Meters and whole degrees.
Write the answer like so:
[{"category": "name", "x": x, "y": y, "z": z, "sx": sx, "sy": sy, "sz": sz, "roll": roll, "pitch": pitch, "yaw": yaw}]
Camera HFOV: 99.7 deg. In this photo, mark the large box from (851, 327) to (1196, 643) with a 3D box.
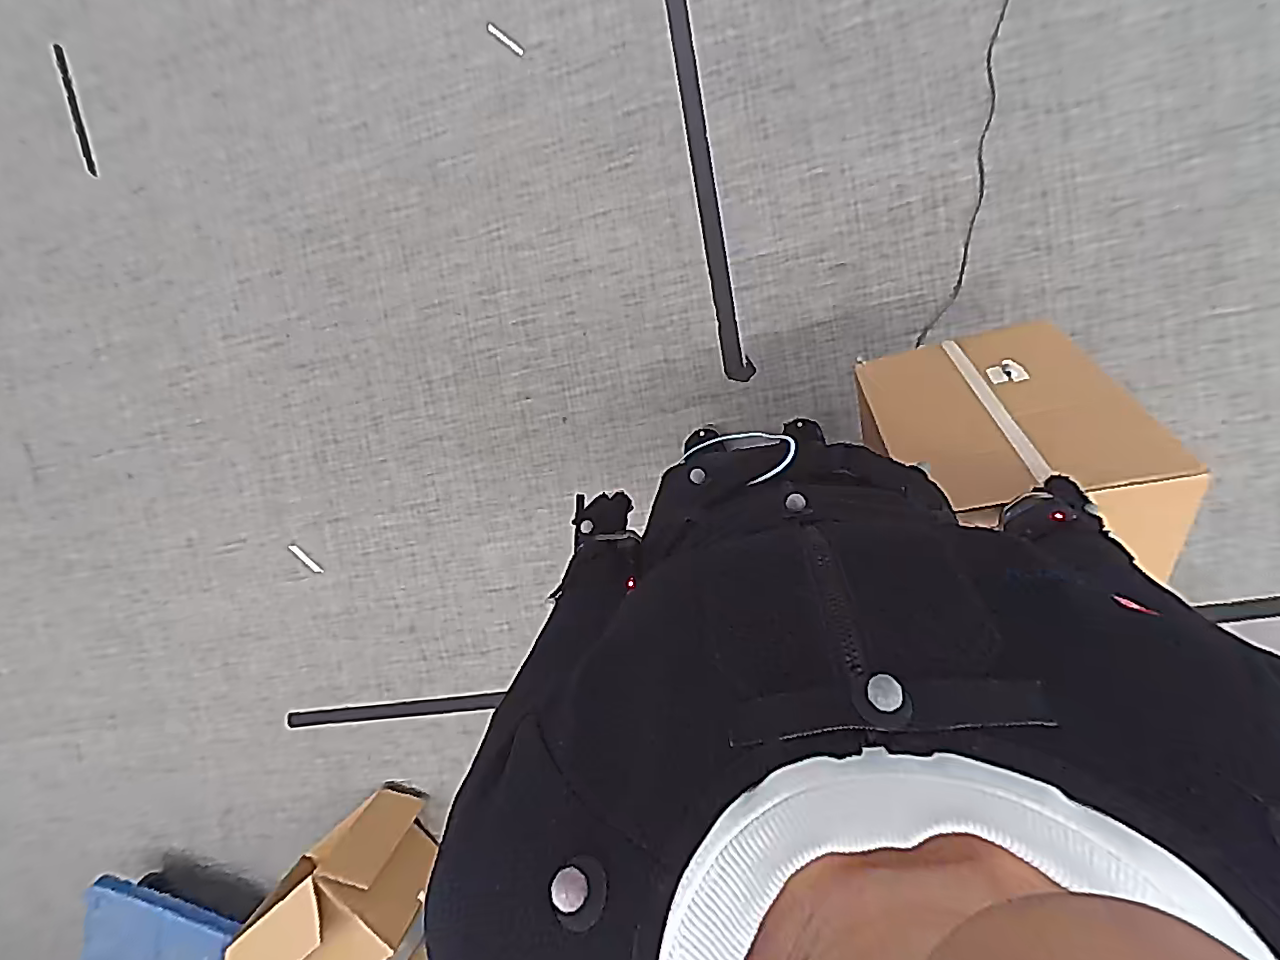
[{"category": "large box", "x": 0.573, "y": 0.003, "z": 0.906, "sx": 0.320, "sy": 0.408, "sz": 0.320, "roll": -11, "pitch": 128, "yaw": 15}]
